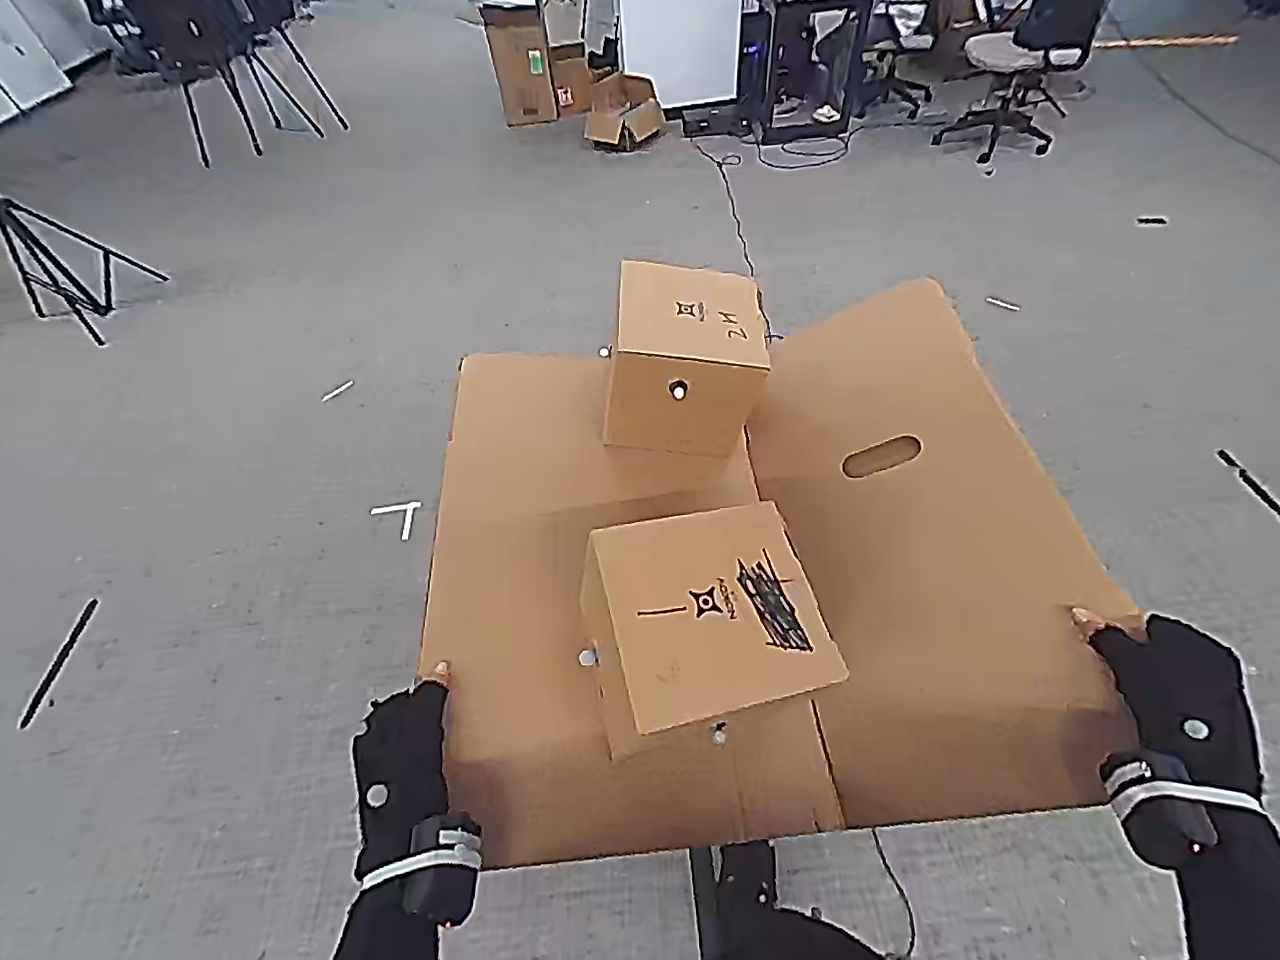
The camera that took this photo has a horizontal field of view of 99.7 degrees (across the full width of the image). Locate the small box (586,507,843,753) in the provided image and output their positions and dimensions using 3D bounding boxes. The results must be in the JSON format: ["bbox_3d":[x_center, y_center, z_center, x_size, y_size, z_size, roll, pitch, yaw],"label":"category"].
[{"bbox_3d":[0.052,0.146,0.518,0.179,0.176,0.168,-8,58,-15],"label":"small box"}]

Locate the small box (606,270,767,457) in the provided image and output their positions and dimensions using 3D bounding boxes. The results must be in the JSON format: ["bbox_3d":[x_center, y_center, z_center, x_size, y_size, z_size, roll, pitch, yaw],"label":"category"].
[{"bbox_3d":[0.050,-0.146,0.715,0.179,0.176,0.168,6,56,-7],"label":"small box"}]
